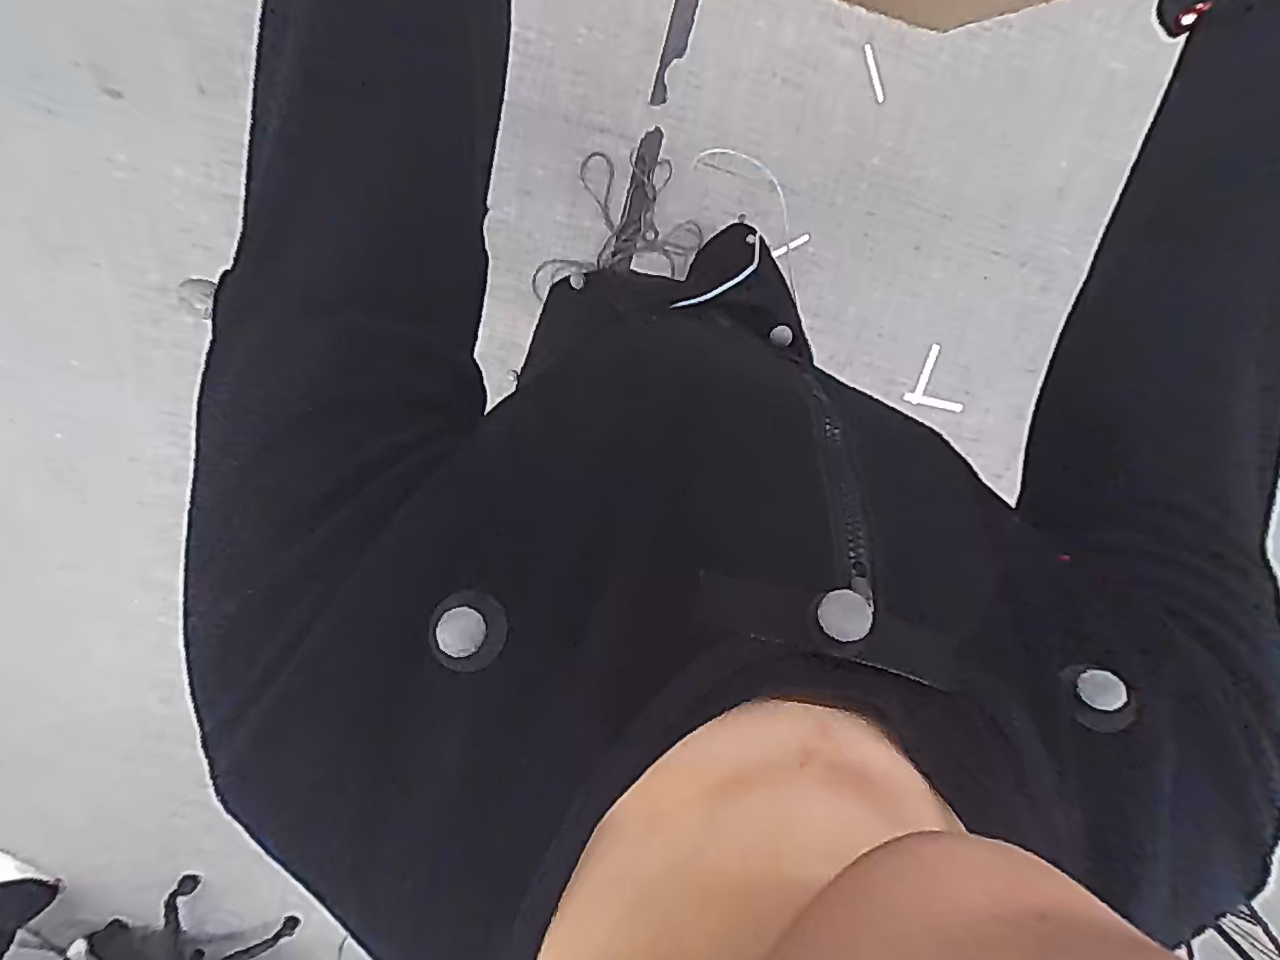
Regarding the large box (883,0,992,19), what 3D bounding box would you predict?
[{"bbox_3d":[0.169,-0.568,0.347,0.408,0.320,0.320,11,124,-9],"label":"large box"}]
